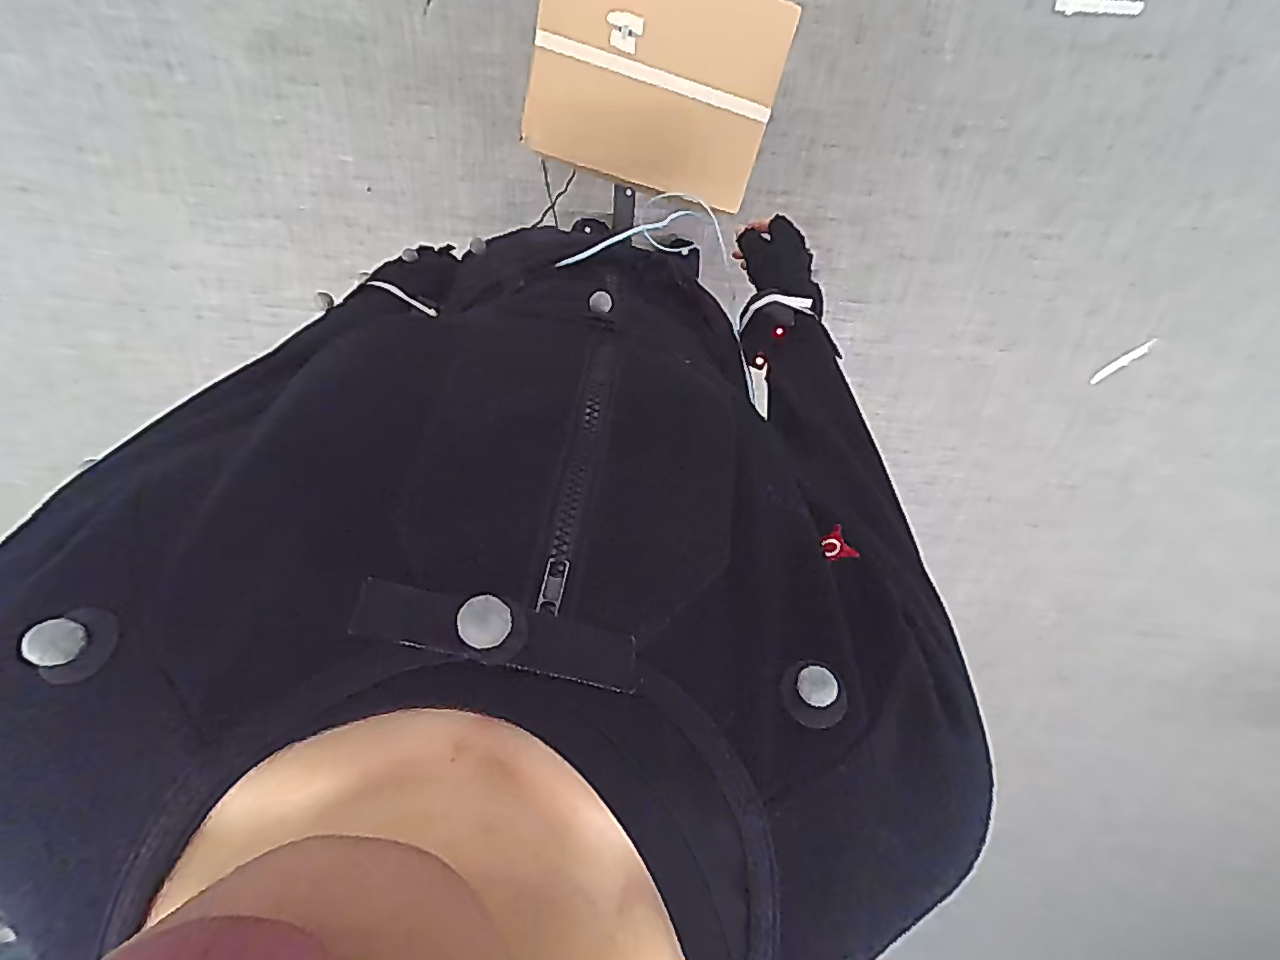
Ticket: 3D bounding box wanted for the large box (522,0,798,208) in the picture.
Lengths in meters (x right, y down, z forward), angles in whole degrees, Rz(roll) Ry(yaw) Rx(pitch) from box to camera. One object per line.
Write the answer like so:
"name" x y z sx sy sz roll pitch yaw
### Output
"large box" 0.024 -0.740 1.034 0.408 0.320 0.320 14 114 -8
